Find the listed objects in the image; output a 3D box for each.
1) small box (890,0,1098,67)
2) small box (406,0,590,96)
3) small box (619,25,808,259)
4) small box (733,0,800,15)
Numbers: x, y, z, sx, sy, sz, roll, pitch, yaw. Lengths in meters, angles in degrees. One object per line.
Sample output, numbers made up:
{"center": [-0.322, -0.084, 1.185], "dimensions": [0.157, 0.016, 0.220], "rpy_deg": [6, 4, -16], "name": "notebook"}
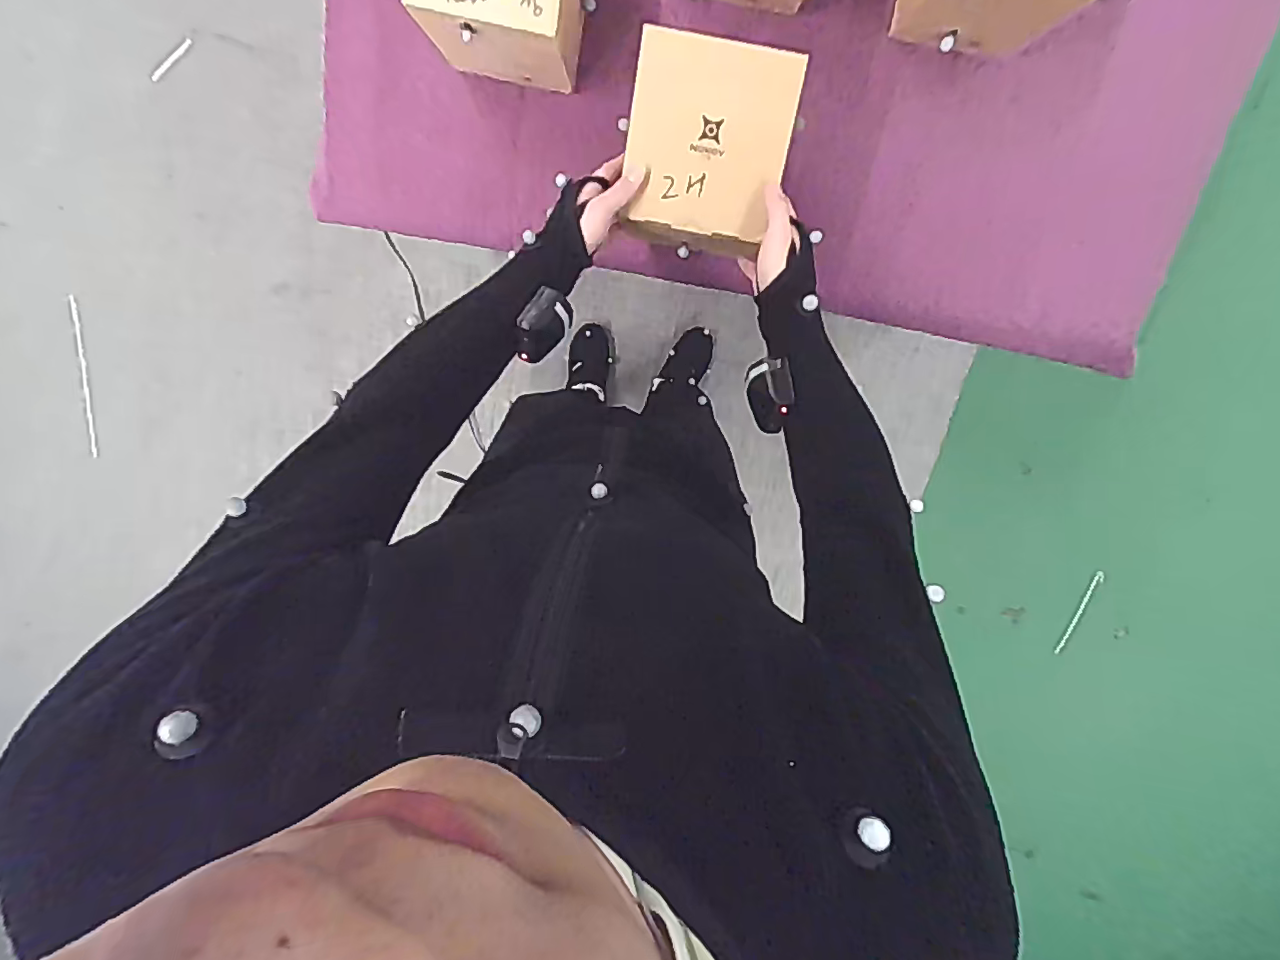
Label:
{"center": [0.413, -0.616, 0.613], "dimensions": [0.168, 0.176, 0.179], "rpy_deg": [9, 108, -2], "name": "small box"}
{"center": [-0.151, -0.585, 0.619], "dimensions": [0.168, 0.176, 0.179], "rpy_deg": [11, 107, -2], "name": "small box"}
{"center": [0.073, -0.371, 0.630], "dimensions": [0.168, 0.176, 0.179], "rpy_deg": [10, 107, -2], "name": "small box"}
{"center": [0.134, -0.665, 0.596], "dimensions": [0.168, 0.176, 0.179], "rpy_deg": [9, 107, -3], "name": "small box"}
